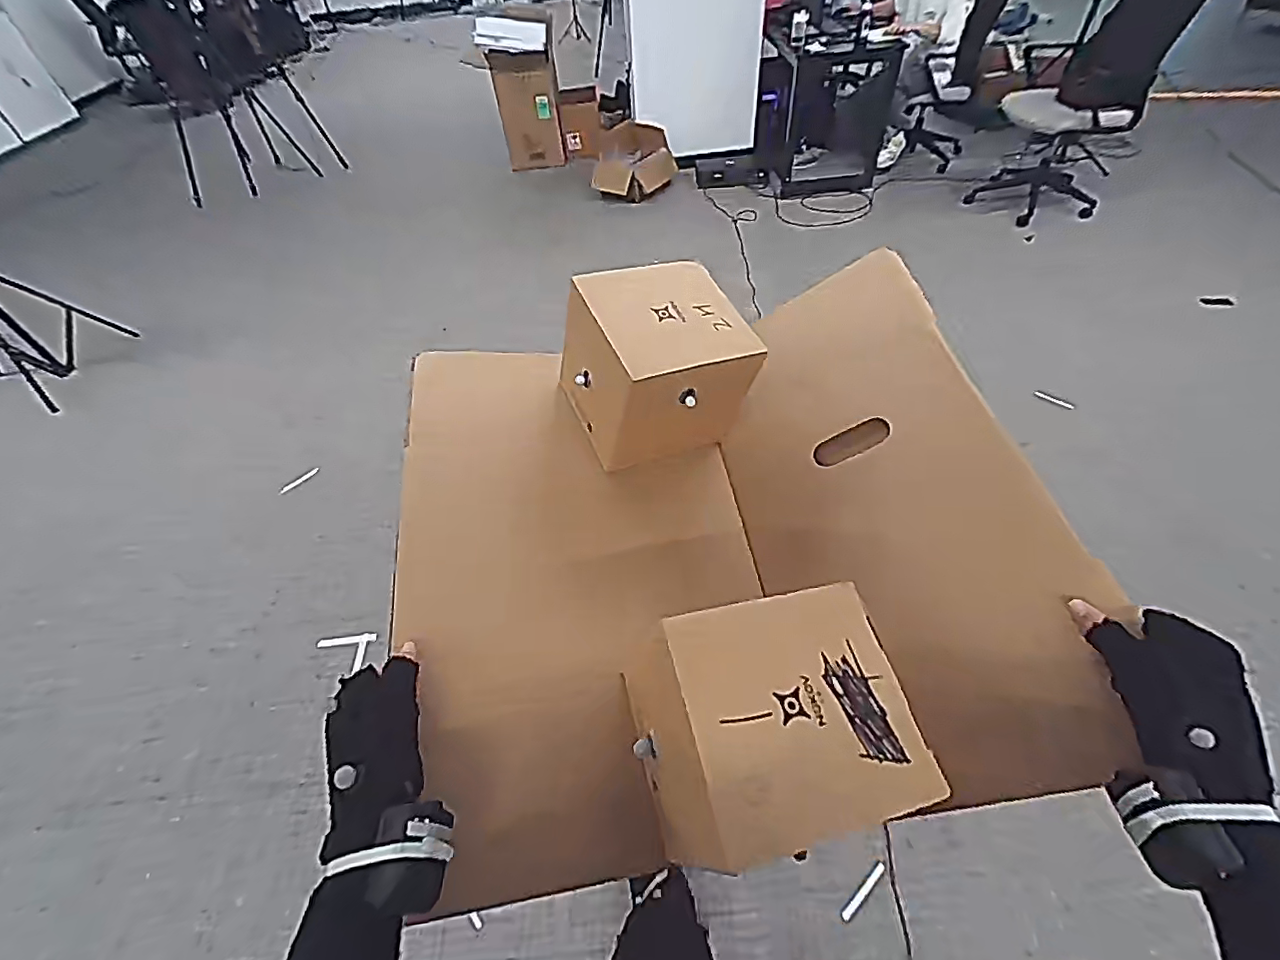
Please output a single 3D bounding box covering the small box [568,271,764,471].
[{"bbox_3d":[0.017,-0.132,0.676,0.179,0.176,0.168,-16,62,-23],"label":"small box"}]
